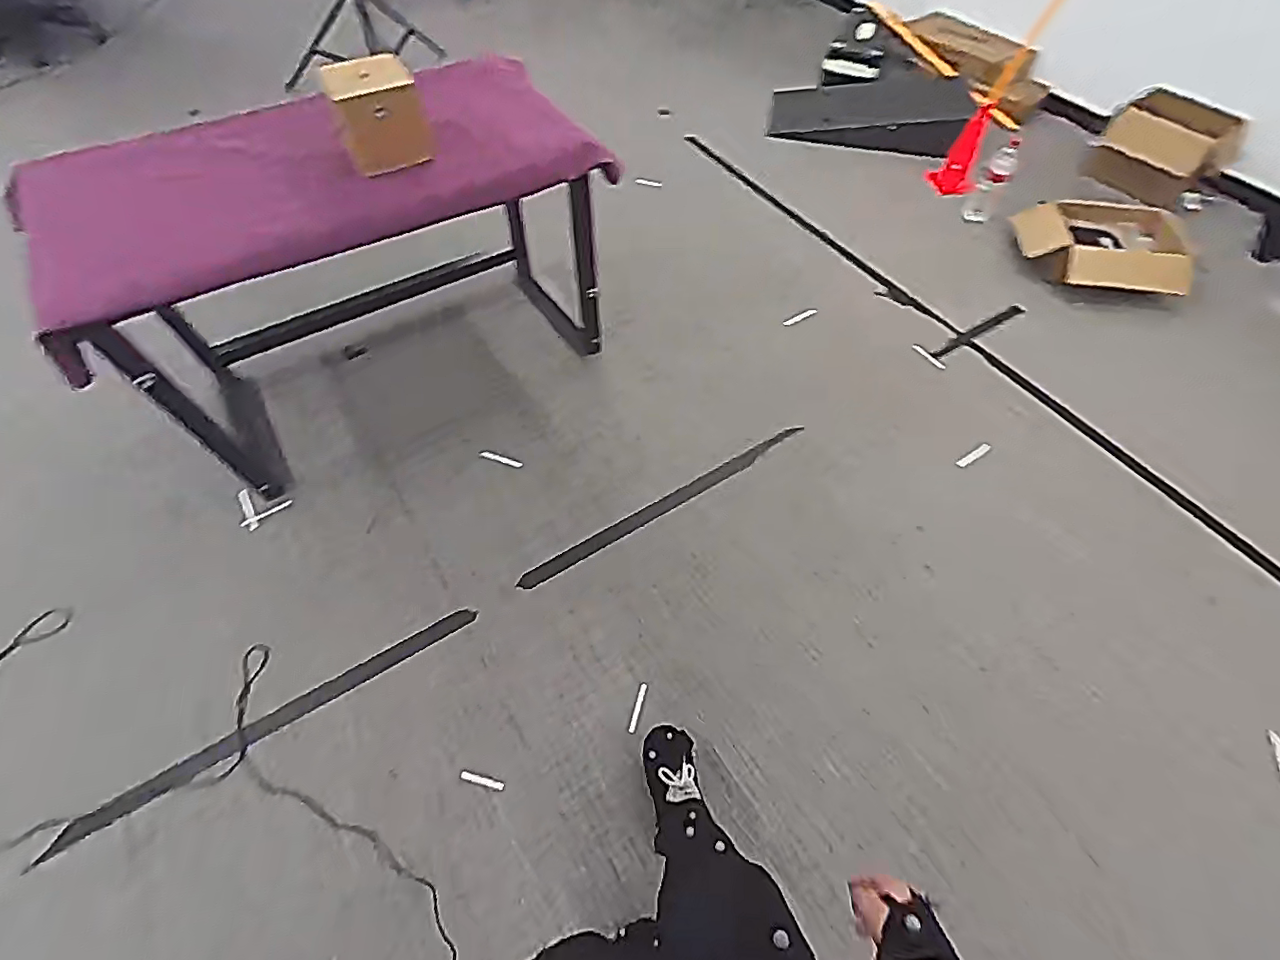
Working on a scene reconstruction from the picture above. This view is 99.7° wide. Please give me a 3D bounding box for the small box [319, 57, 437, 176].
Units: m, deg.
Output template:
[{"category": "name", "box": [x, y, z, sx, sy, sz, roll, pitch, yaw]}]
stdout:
[{"category": "small box", "box": [-0.605, -0.843, 1.263, 0.179, 0.176, 0.168, -27, 63, -17]}]
